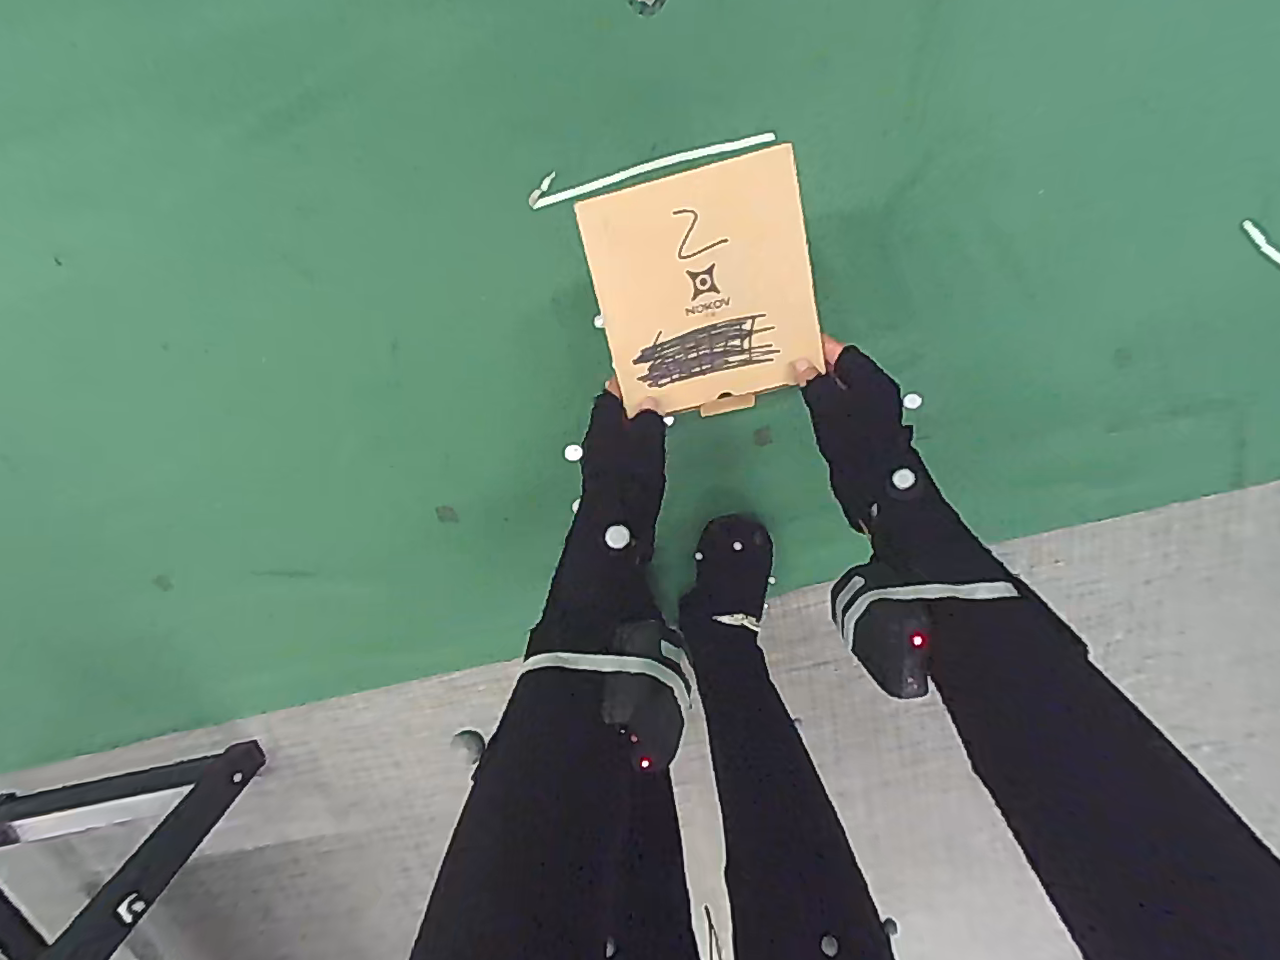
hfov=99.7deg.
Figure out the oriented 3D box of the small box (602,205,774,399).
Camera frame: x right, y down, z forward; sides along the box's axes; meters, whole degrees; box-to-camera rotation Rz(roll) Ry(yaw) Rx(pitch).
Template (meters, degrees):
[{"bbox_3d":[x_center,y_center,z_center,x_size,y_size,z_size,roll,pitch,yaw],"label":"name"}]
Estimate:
[{"bbox_3d":[0.054,-0.213,0.663,0.168,0.176,0.179,-12,109,5],"label":"small box"}]
